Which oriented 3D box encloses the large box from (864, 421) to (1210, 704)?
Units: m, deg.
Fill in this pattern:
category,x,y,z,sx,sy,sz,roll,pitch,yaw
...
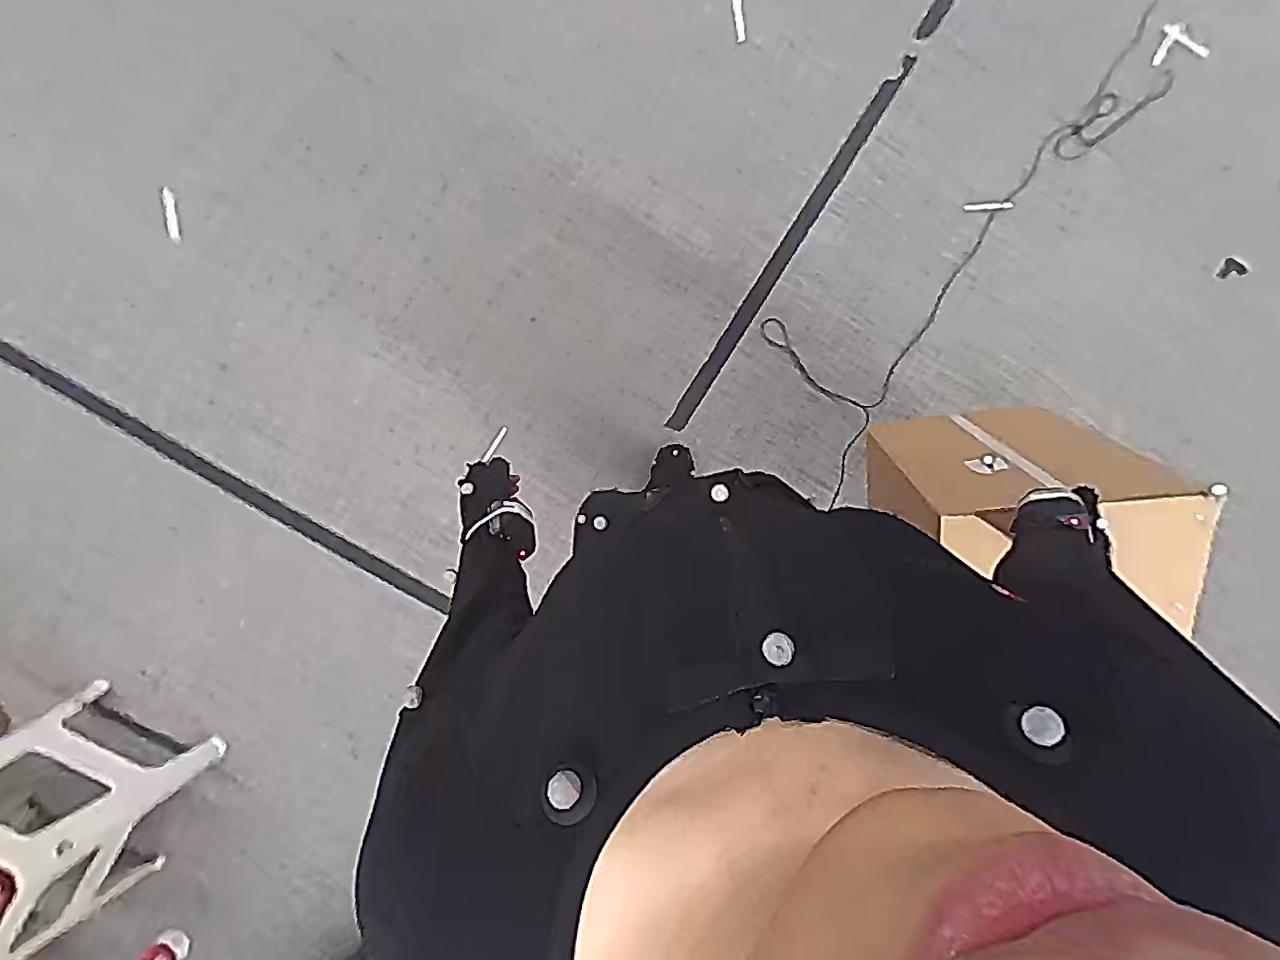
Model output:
category,x,y,z,sx,sy,sz,roll,pitch,yaw
large box,0.593,0.113,0.921,0.320,0.408,0.320,-6,112,10
